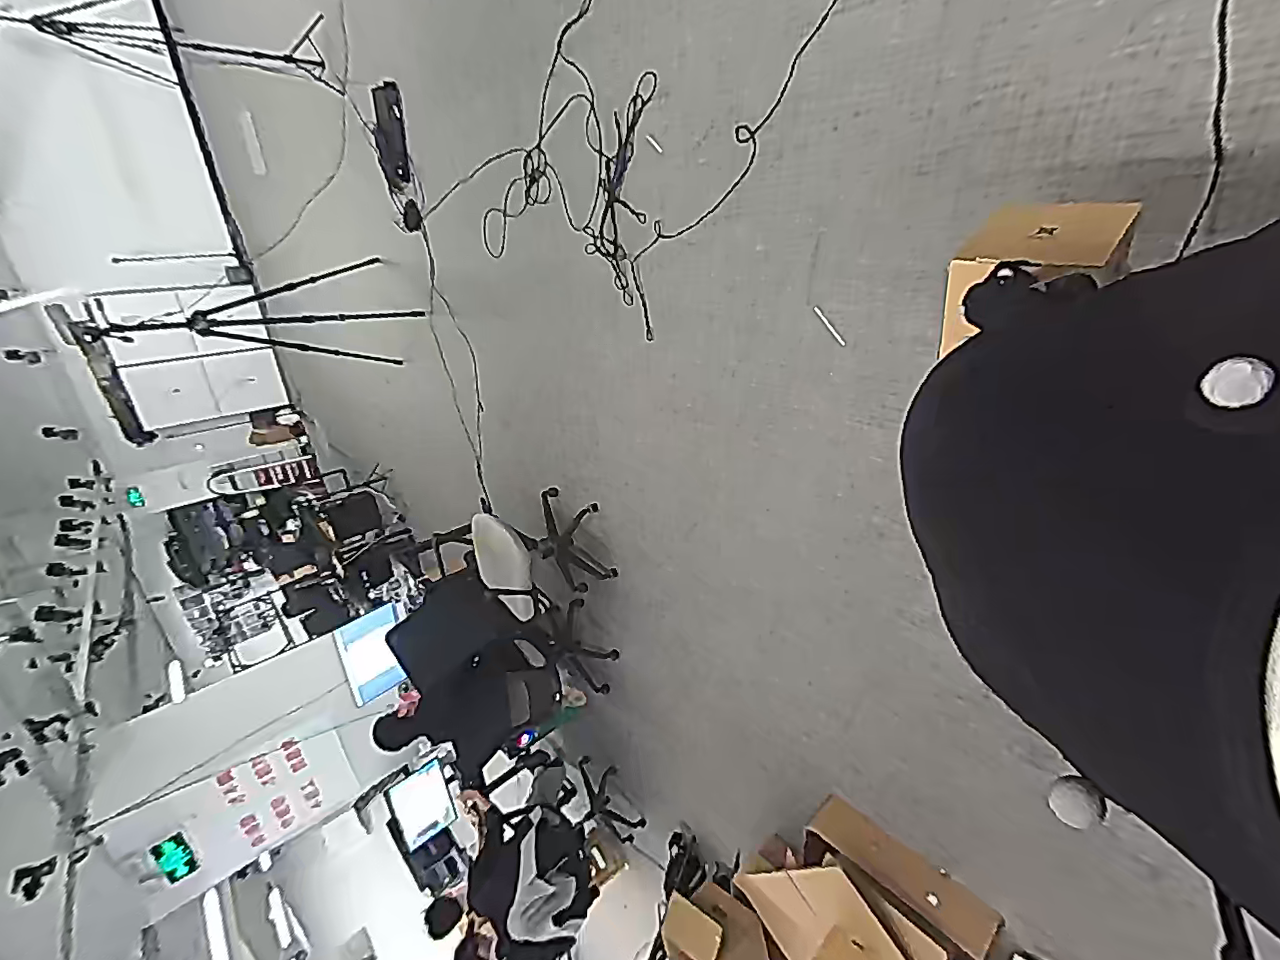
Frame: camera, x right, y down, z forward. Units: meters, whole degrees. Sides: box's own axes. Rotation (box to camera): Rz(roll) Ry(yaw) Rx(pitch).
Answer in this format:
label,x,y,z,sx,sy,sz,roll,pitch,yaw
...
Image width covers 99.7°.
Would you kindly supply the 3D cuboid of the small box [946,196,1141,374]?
label,x,y,z,sx,sy,sz,roll,pitch,yaw
small box,0.551,-0.277,0.759,0.168,0.179,0.176,24,149,39
